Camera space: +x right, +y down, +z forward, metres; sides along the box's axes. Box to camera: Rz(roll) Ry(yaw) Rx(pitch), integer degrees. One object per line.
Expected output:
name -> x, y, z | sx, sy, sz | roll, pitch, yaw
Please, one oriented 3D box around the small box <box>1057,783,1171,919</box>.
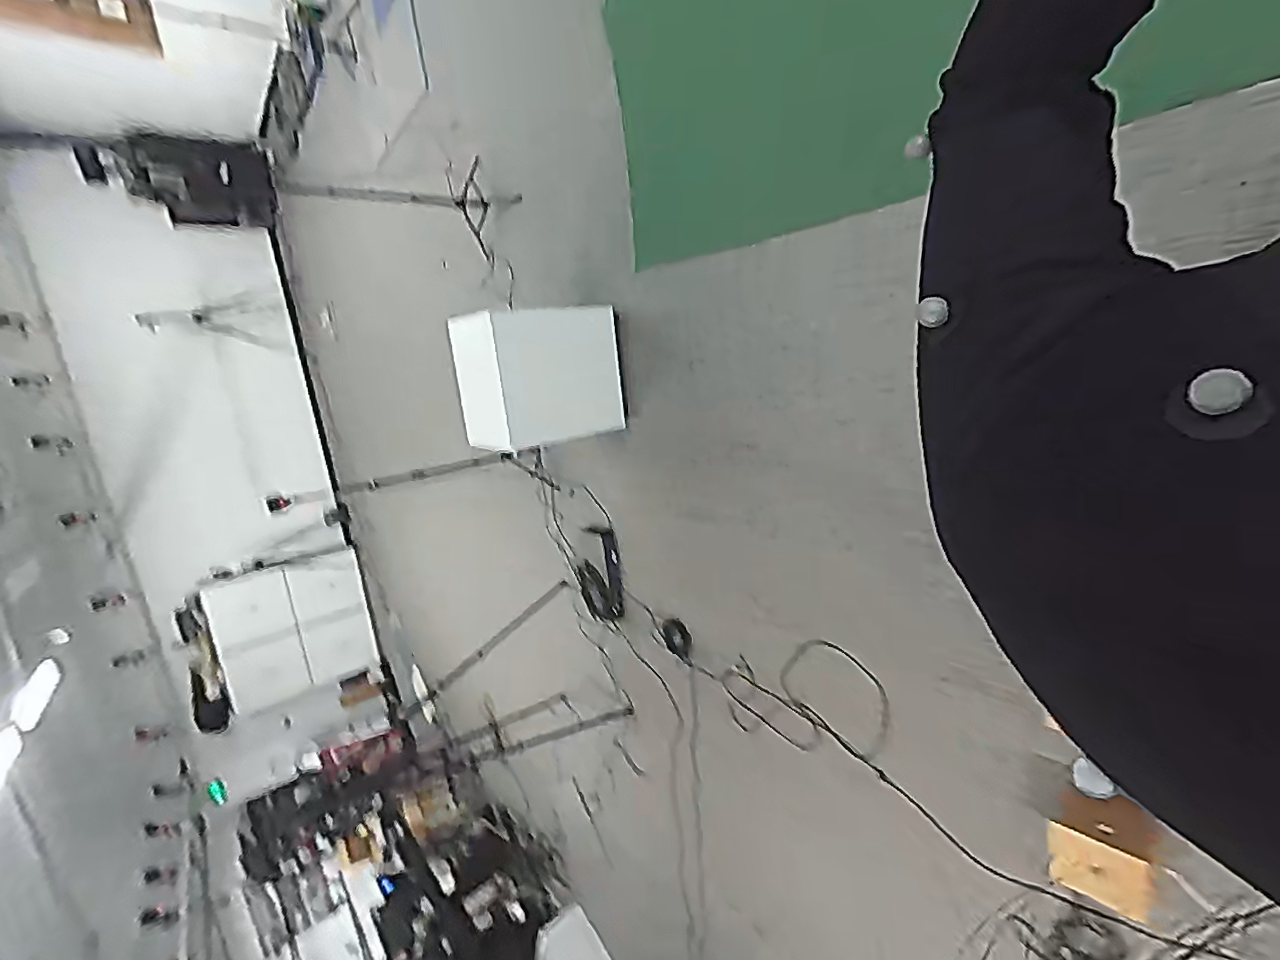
small box -> 1.117, 0.858, 1.276 | 0.179, 0.176, 0.168 | 4, 106, 50
